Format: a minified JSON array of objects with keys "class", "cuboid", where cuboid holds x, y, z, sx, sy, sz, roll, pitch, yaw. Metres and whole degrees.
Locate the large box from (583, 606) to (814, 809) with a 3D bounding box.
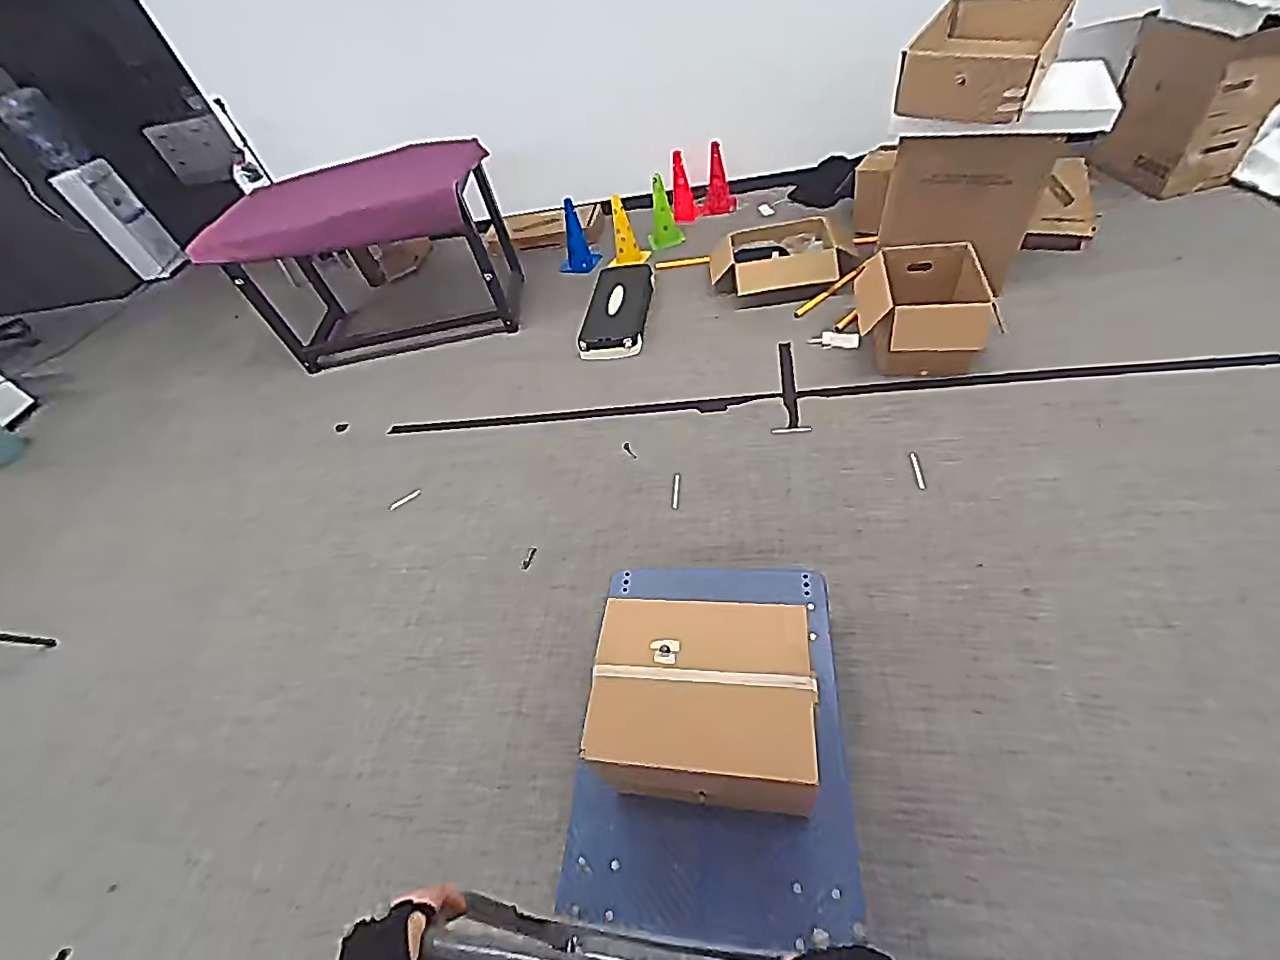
[{"class":"large box","cuboid":[0.138,0.474,1.130,0.408,0.320,0.320,-2,49,14]}]
